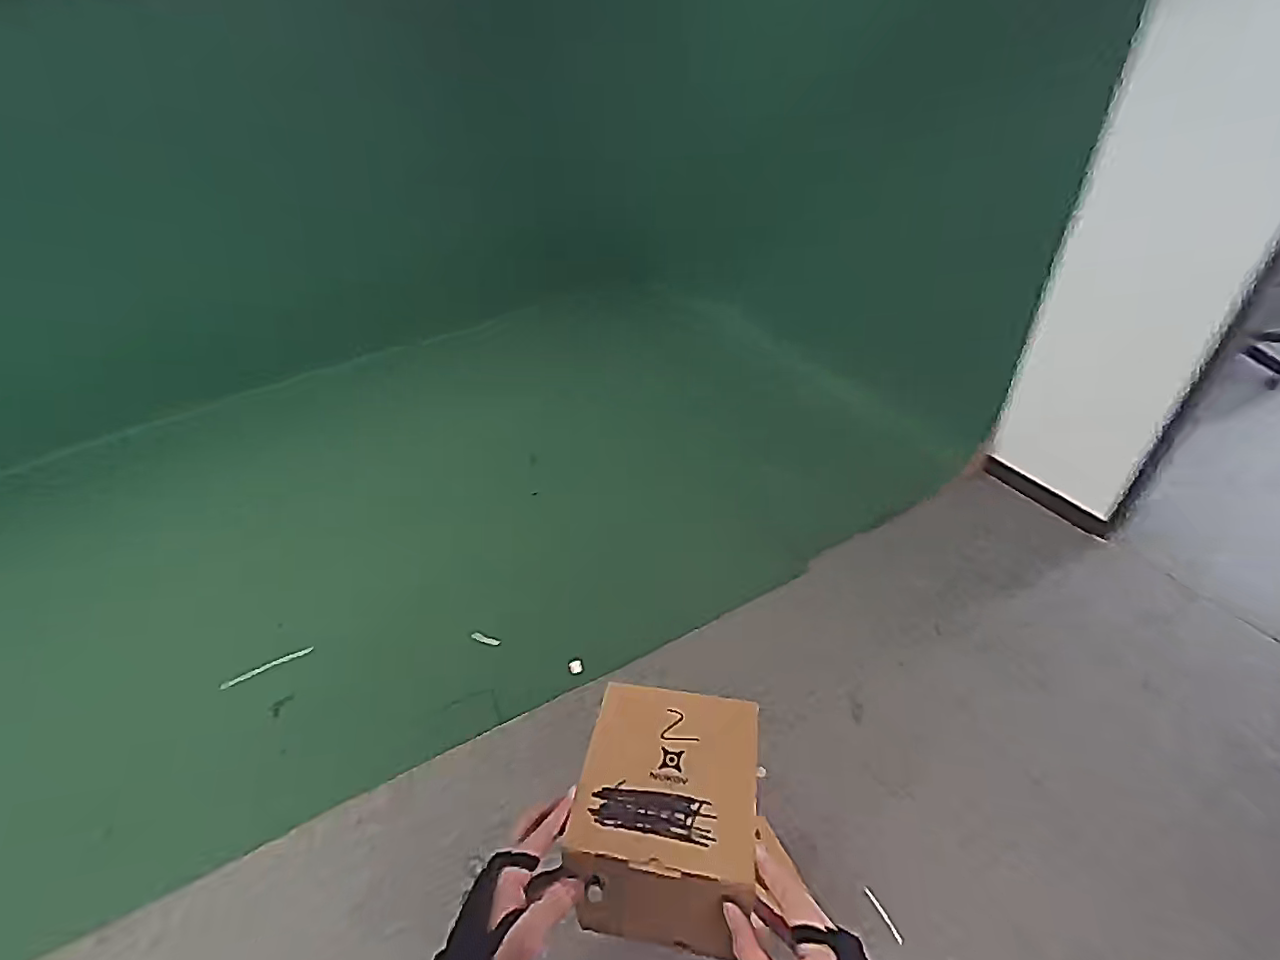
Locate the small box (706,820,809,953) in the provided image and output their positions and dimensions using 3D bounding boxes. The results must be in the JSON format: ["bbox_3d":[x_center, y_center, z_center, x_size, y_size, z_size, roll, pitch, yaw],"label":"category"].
[{"bbox_3d":[0.266,0.943,1.253,0.168,0.176,0.179,-23,43,-15],"label":"small box"}]
